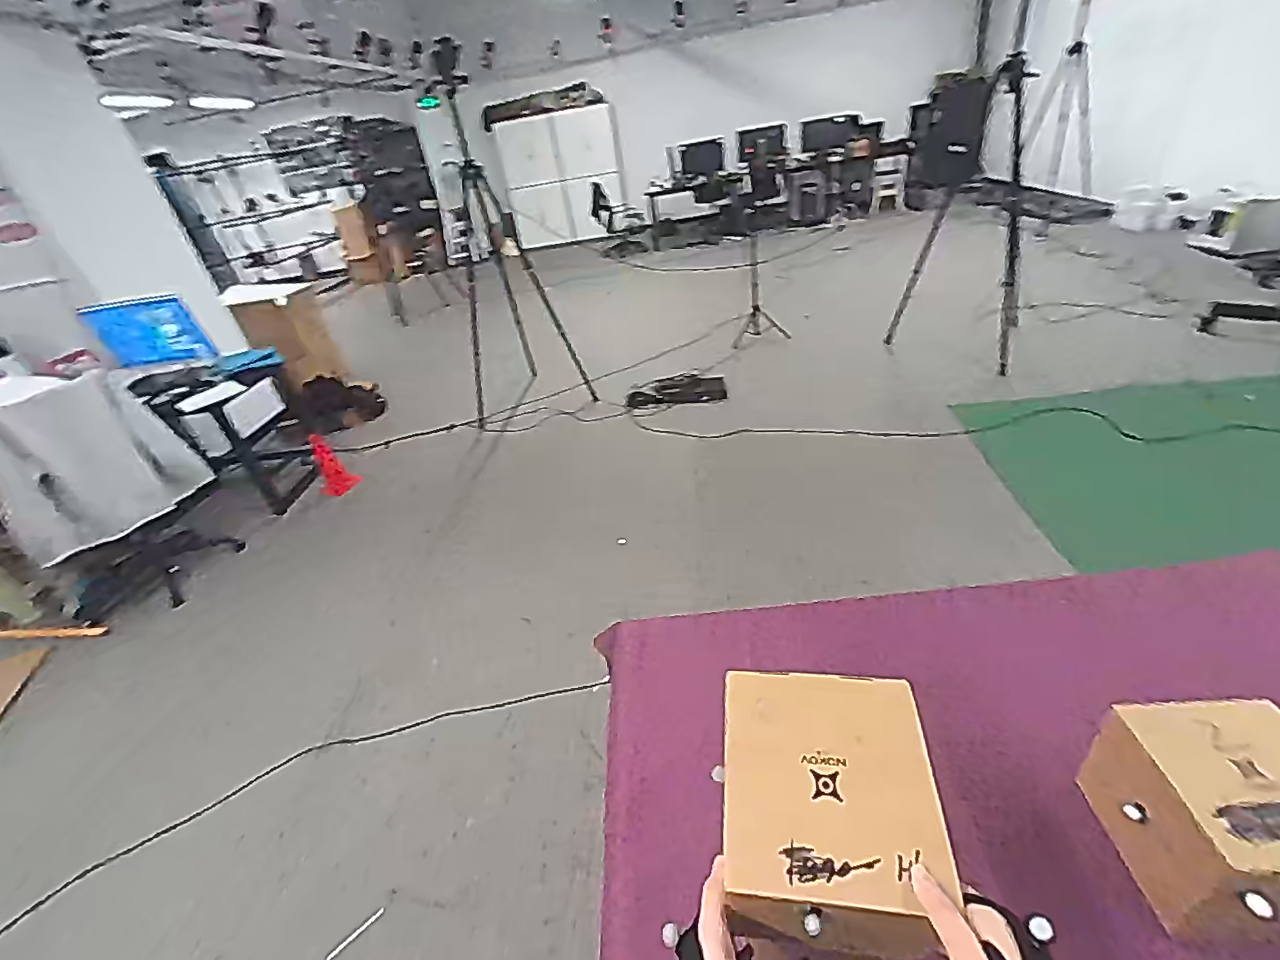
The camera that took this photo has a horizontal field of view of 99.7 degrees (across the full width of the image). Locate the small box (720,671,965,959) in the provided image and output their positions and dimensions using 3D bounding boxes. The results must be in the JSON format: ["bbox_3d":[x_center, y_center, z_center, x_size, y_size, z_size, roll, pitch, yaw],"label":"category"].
[{"bbox_3d":[0.161,0.298,0.489,0.168,0.176,0.179,-2,42,12],"label":"small box"}]
